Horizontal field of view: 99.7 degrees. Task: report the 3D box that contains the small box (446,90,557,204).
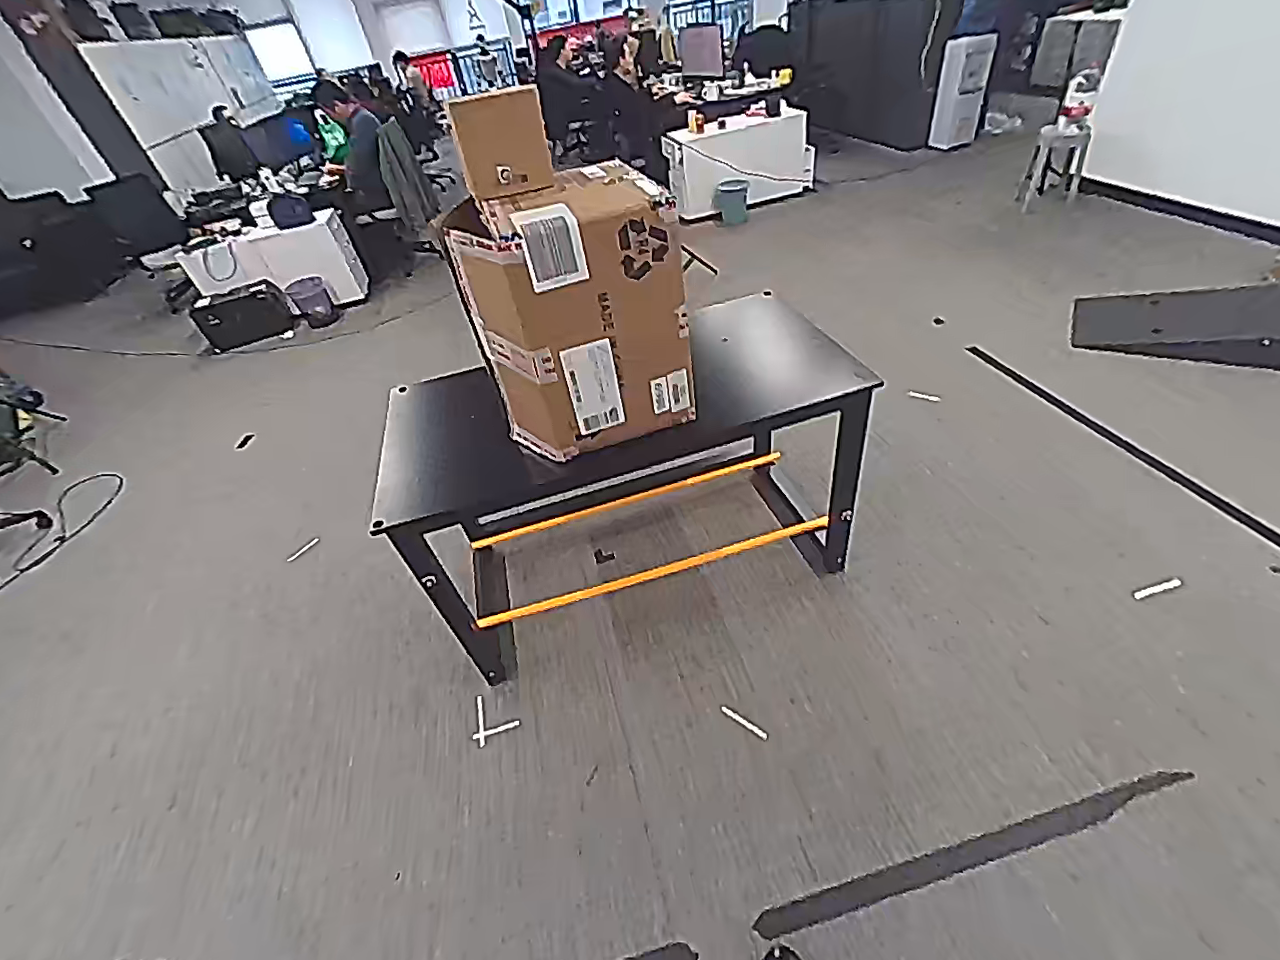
[{"bbox_3d":[-0.281,-0.676,1.099,0.168,0.176,0.179,-19,40,-10],"label":"small box"}]
